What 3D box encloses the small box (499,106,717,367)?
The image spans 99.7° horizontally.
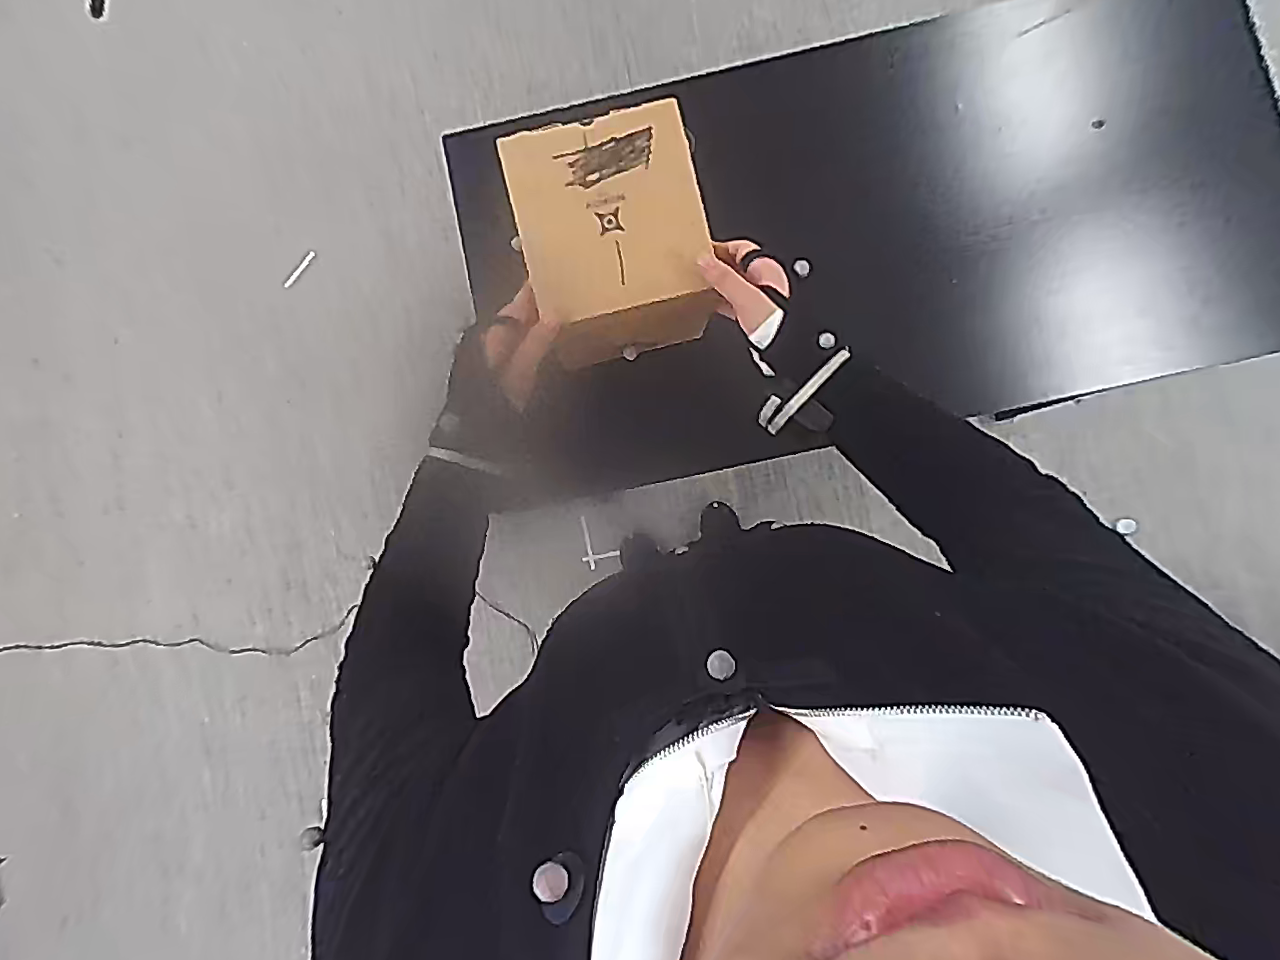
[{"bbox_3d":[-0.031,-0.233,0.560,0.168,0.176,0.179,-14,91,0],"label":"small box"}]
